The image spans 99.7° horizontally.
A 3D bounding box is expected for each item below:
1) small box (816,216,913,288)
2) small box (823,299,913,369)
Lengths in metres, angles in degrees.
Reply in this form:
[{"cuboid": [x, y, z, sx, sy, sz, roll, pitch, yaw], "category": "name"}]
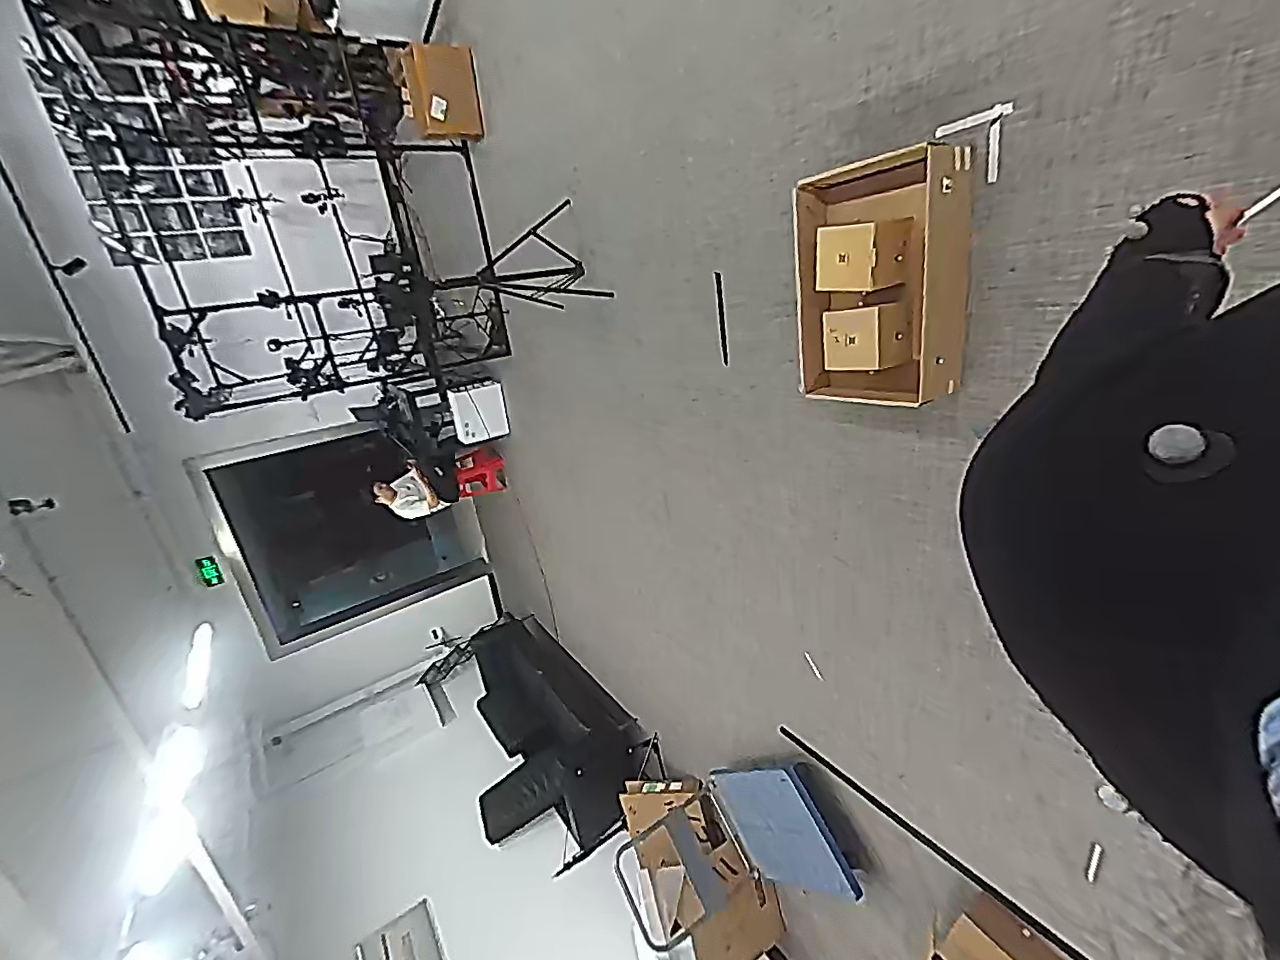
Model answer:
[{"cuboid": [0.606, -0.619, 1.471, 0.179, 0.176, 0.168, 27, 130, 50], "category": "small box"}, {"cuboid": [0.645, -0.412, 1.526, 0.179, 0.176, 0.168, 17, 120, 55], "category": "small box"}]
